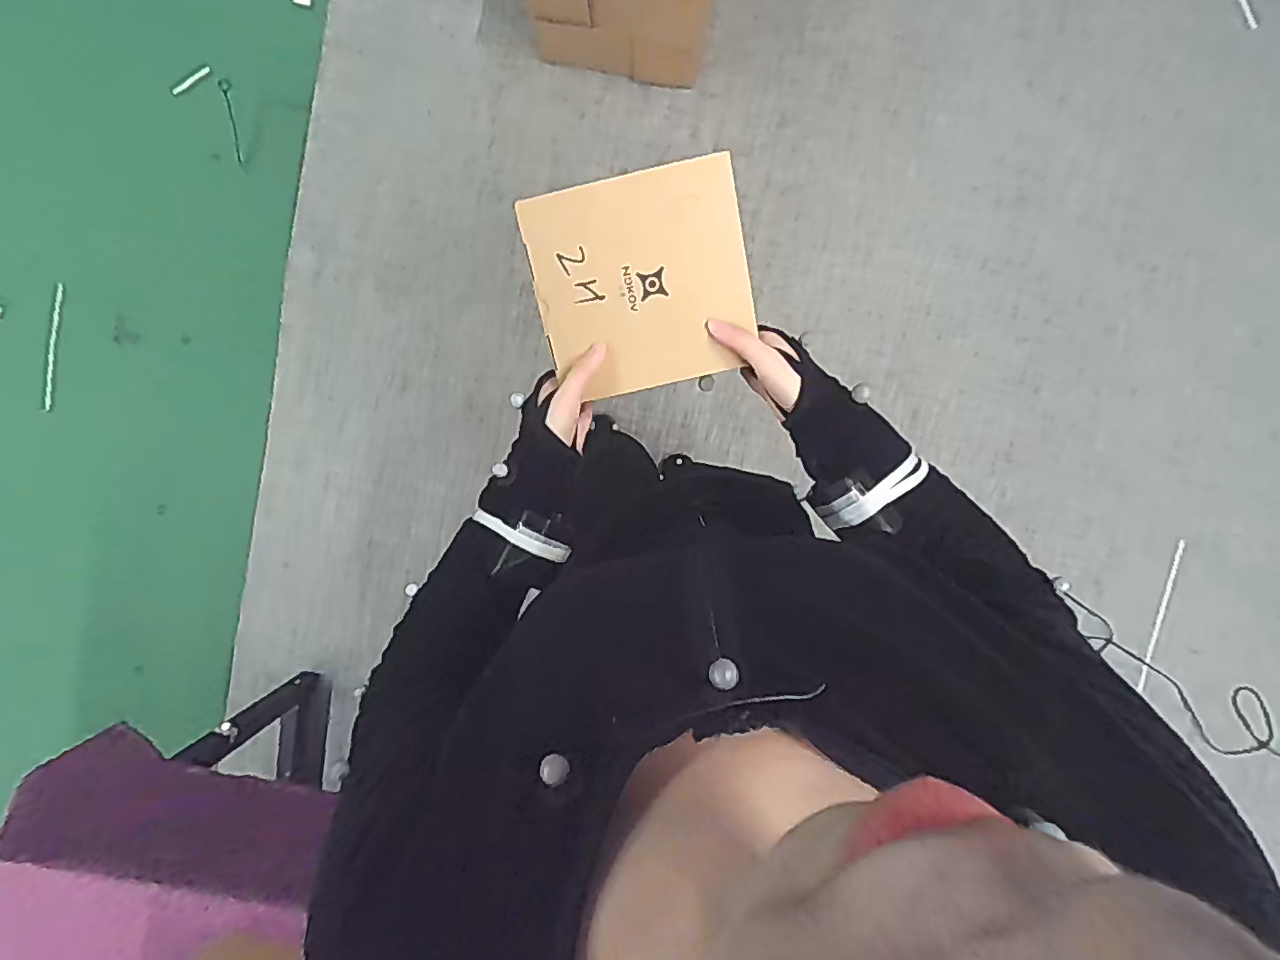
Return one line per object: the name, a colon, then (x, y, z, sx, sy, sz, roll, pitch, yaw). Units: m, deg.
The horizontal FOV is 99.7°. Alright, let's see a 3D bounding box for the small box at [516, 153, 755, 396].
small box: (-0.001, -0.183, 0.520, 0.179, 0.176, 0.168, -11, 103, 3)
